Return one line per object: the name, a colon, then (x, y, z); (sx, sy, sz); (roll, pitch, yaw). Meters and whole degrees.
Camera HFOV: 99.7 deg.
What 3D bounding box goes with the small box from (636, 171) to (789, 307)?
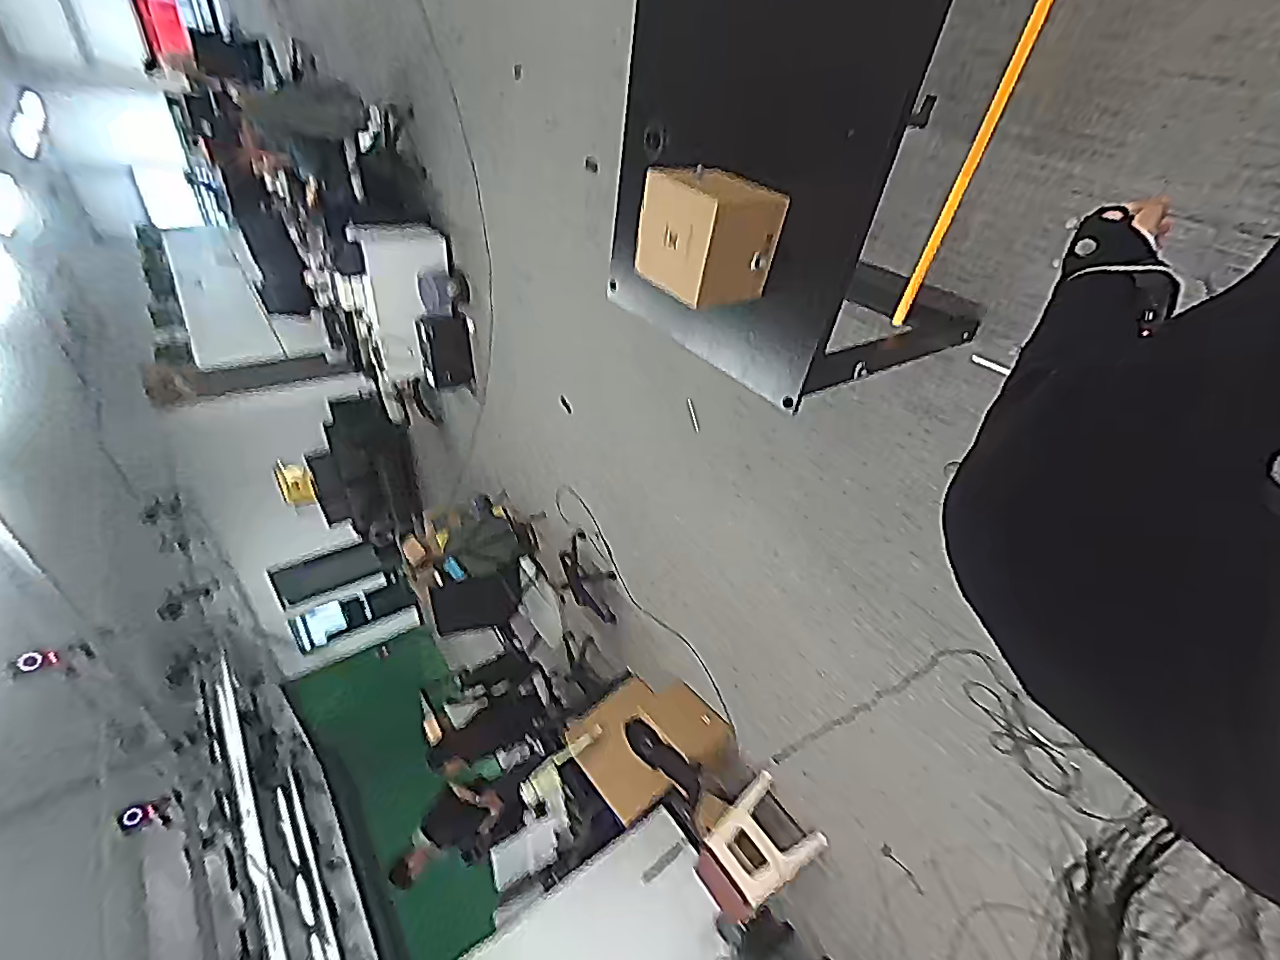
small box: (0.119, -0.416, 0.924); (0.179, 0.176, 0.168); (43, 141, 34)
